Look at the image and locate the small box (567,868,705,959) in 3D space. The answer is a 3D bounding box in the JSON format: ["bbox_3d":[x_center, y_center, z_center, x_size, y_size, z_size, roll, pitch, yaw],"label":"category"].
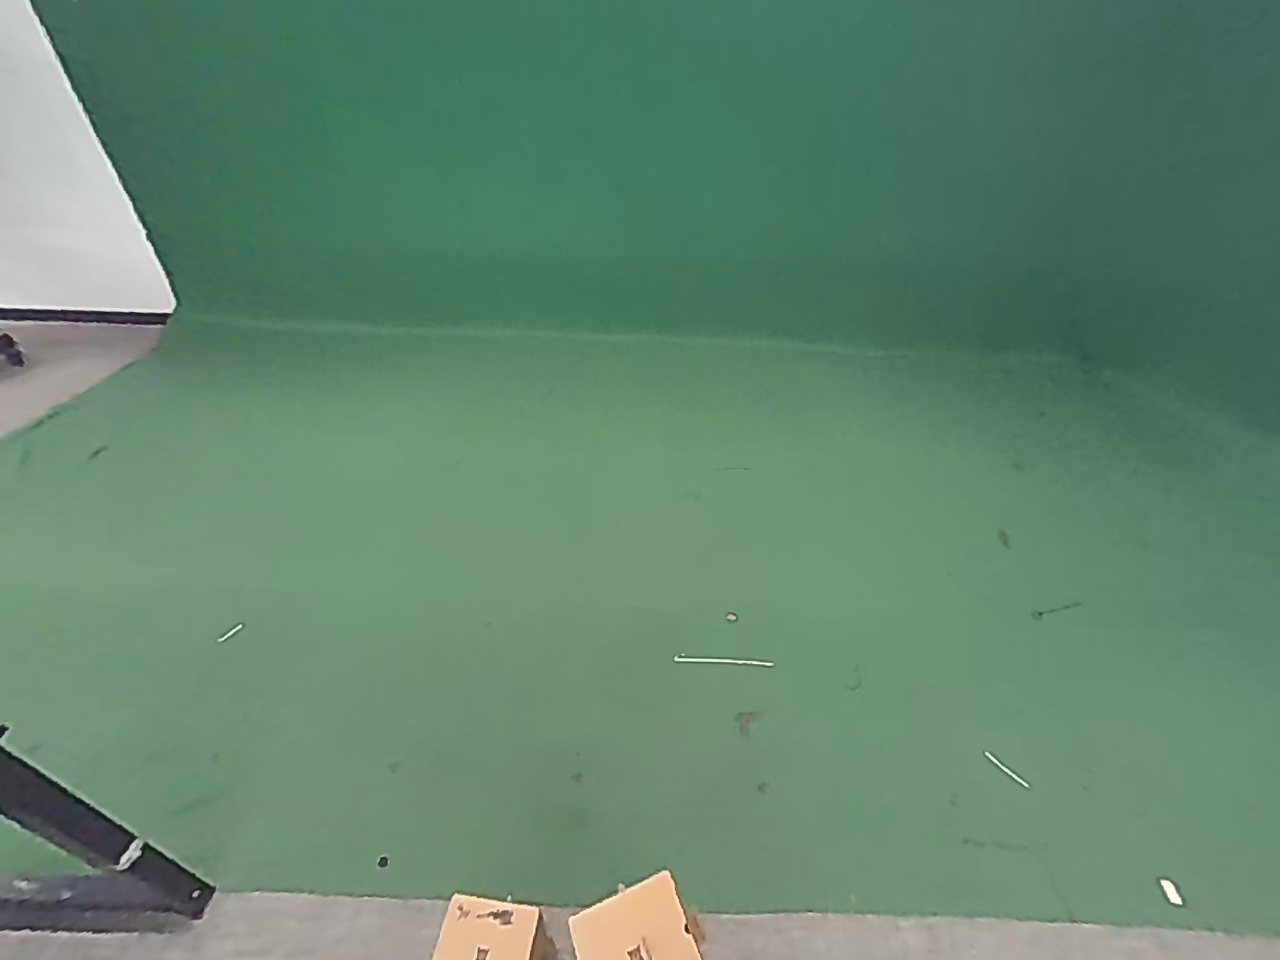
[{"bbox_3d":[-0.003,0.757,0.844,0.179,0.176,0.168,-13,42,-19],"label":"small box"}]

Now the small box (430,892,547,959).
[{"bbox_3d":[-0.270,0.868,0.952,0.168,0.176,0.179,5,39,7],"label":"small box"}]
